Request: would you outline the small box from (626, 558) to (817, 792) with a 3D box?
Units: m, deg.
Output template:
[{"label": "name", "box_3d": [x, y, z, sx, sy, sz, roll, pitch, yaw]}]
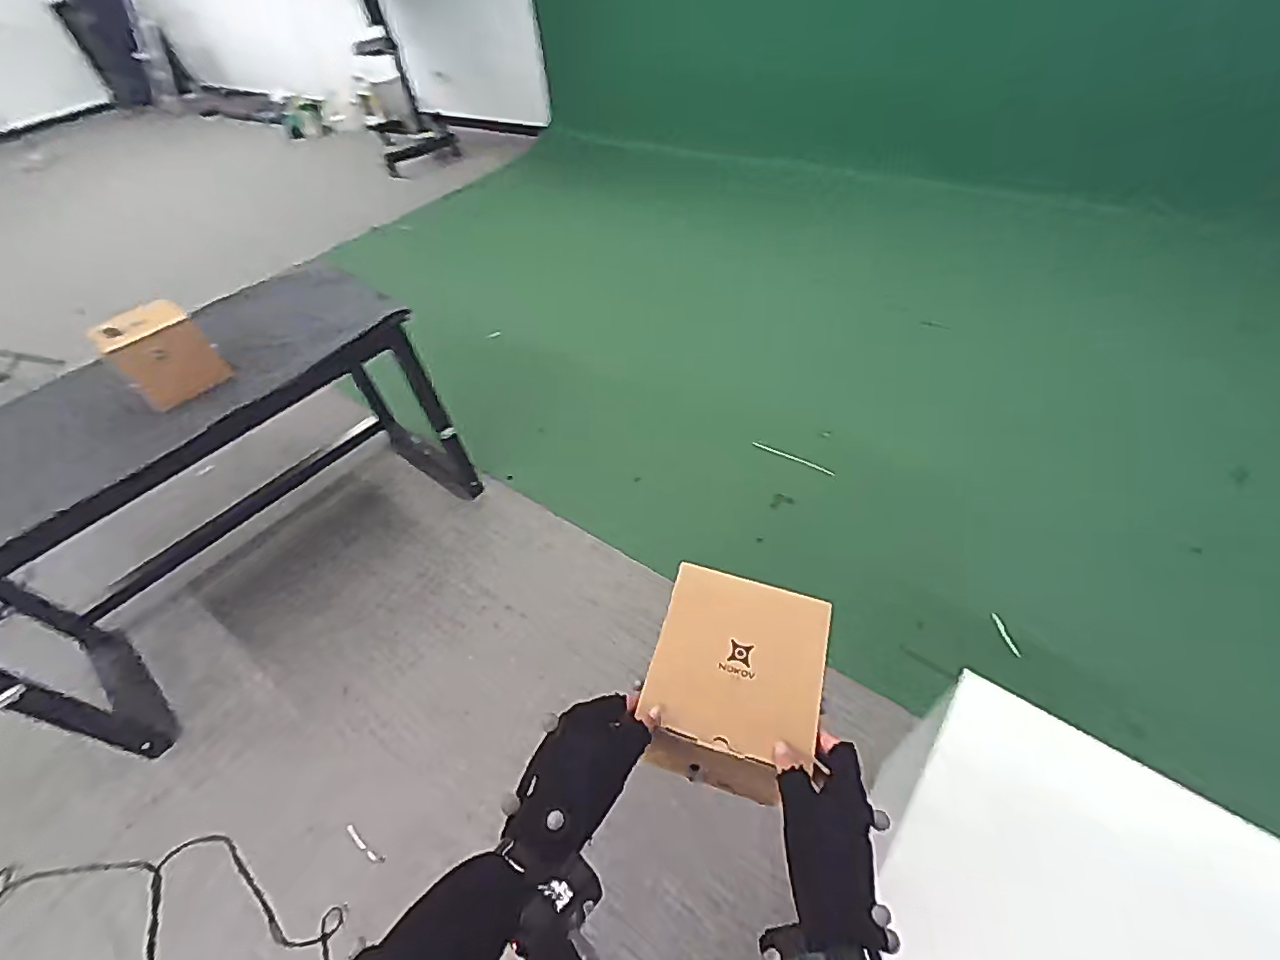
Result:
[{"label": "small box", "box_3d": [0.085, 0.218, 0.600, 0.168, 0.176, 0.179, 14, 54, 9]}]

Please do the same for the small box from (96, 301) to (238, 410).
[{"label": "small box", "box_3d": [-1.126, -0.297, 1.298, 0.168, 0.176, 0.179, 30, 58, 29]}]
